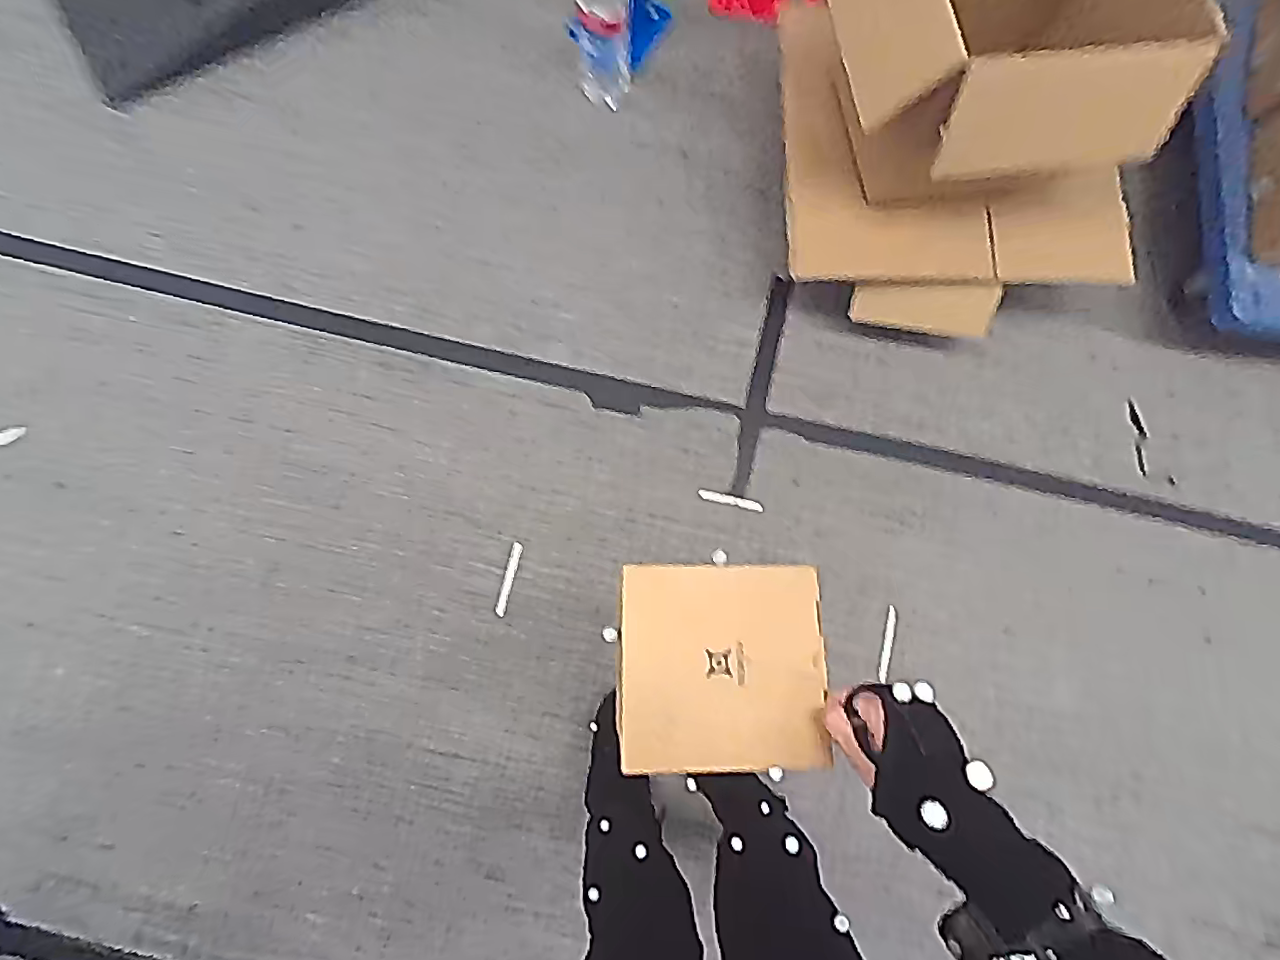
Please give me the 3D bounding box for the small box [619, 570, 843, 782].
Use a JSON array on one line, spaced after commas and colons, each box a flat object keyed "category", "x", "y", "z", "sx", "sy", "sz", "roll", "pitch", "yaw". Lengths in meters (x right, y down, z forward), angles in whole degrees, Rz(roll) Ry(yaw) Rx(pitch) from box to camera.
[{"category": "small box", "x": 0.069, "y": 0.177, "z": 0.520, "sx": 0.179, "sy": 0.176, "sz": 0.168, "roll": 1, "pitch": 76, "yaw": -5}]
